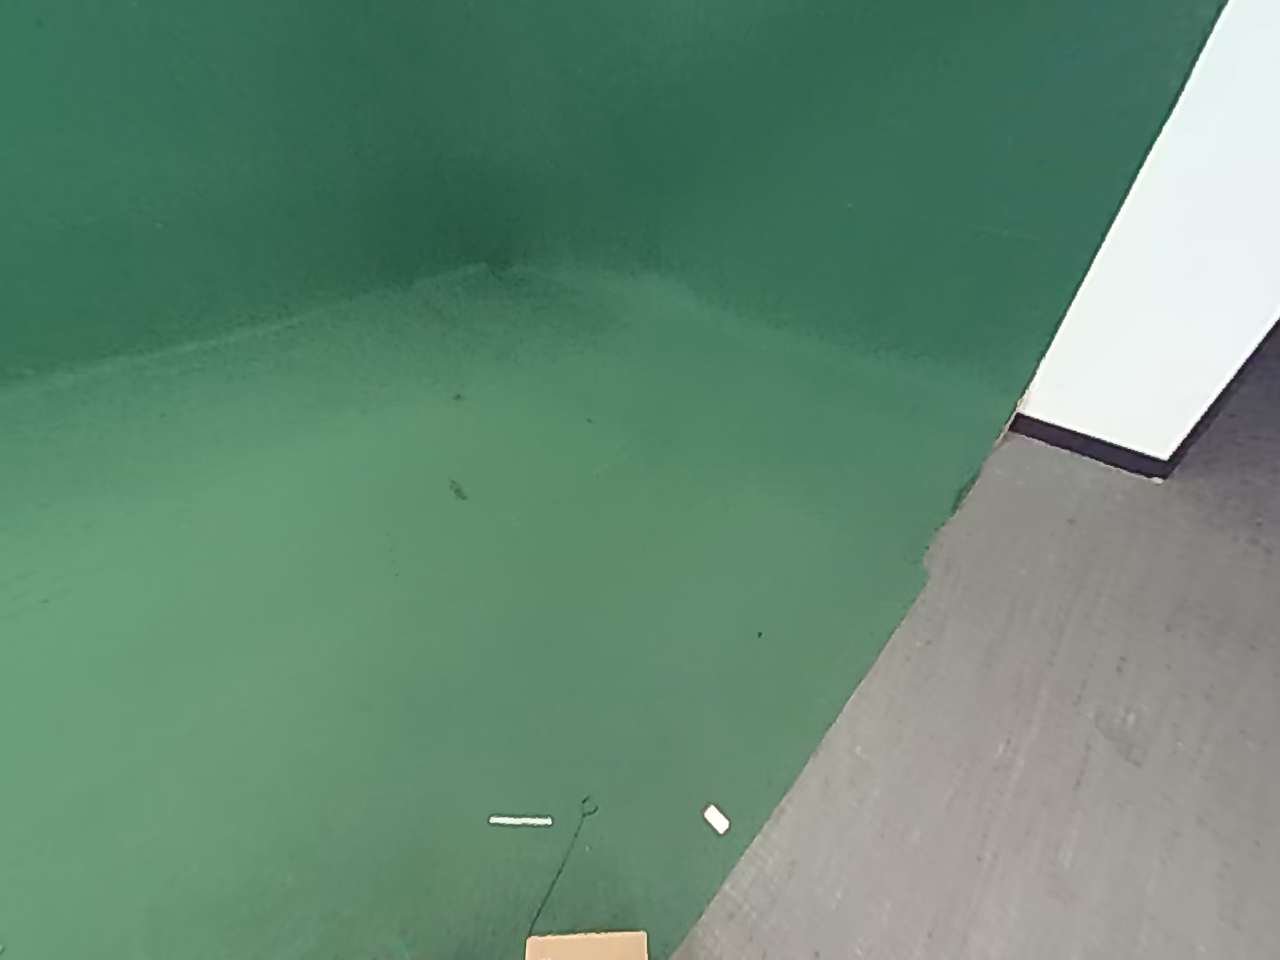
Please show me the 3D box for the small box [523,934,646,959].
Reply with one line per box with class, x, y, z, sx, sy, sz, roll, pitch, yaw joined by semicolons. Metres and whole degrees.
small box;-0.077;0.776;0.772;0.179;0.176;0.168;0;39;-2
